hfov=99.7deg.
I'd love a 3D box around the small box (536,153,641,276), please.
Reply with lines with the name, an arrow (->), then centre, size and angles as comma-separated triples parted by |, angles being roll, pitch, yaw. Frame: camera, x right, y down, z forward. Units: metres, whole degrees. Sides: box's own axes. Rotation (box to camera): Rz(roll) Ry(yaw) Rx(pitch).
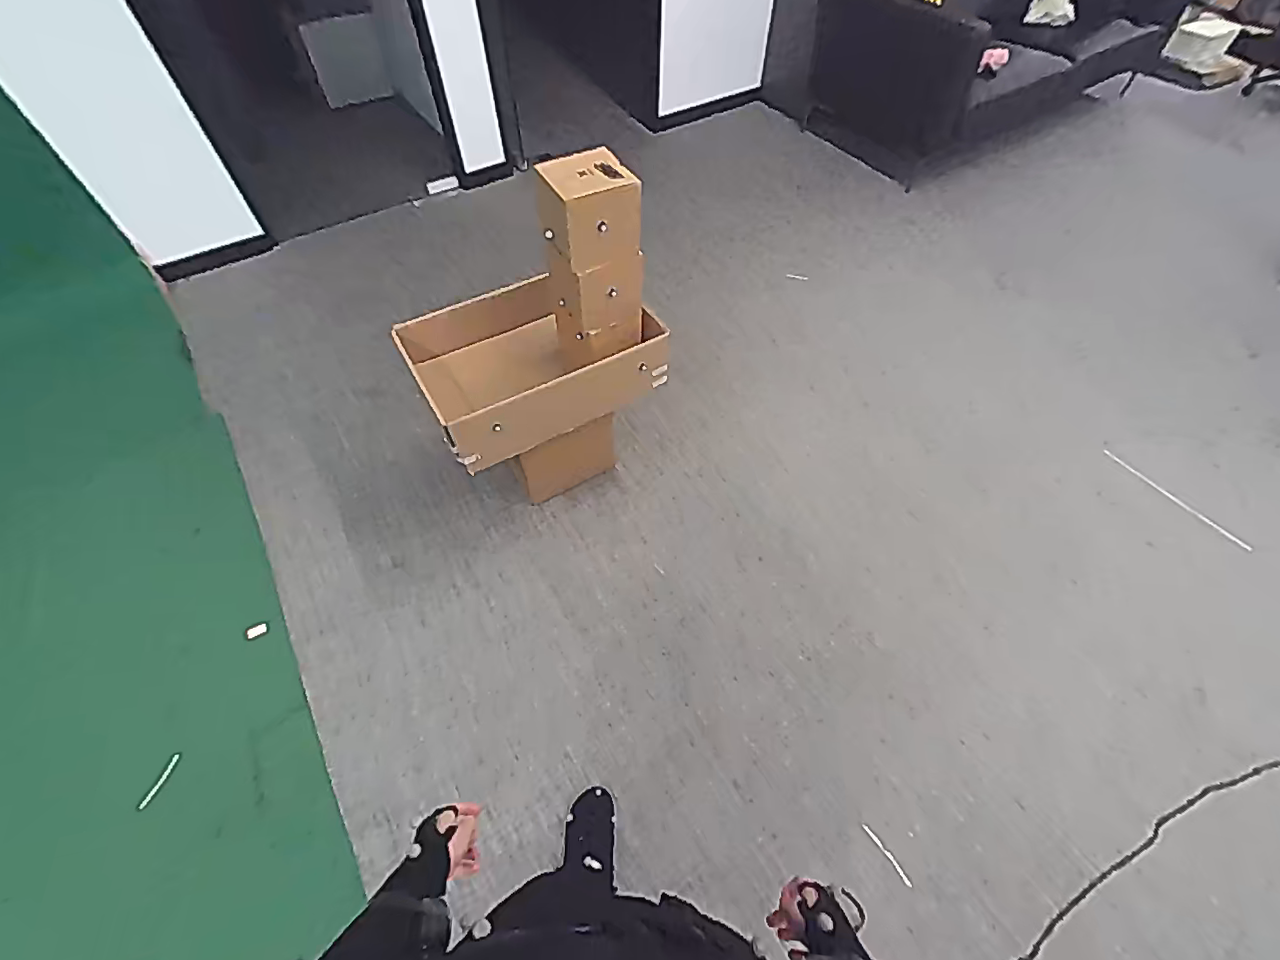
small box -> -0.112, -0.587, 1.203 | 0.179, 0.176, 0.168 | -24, 59, -16
